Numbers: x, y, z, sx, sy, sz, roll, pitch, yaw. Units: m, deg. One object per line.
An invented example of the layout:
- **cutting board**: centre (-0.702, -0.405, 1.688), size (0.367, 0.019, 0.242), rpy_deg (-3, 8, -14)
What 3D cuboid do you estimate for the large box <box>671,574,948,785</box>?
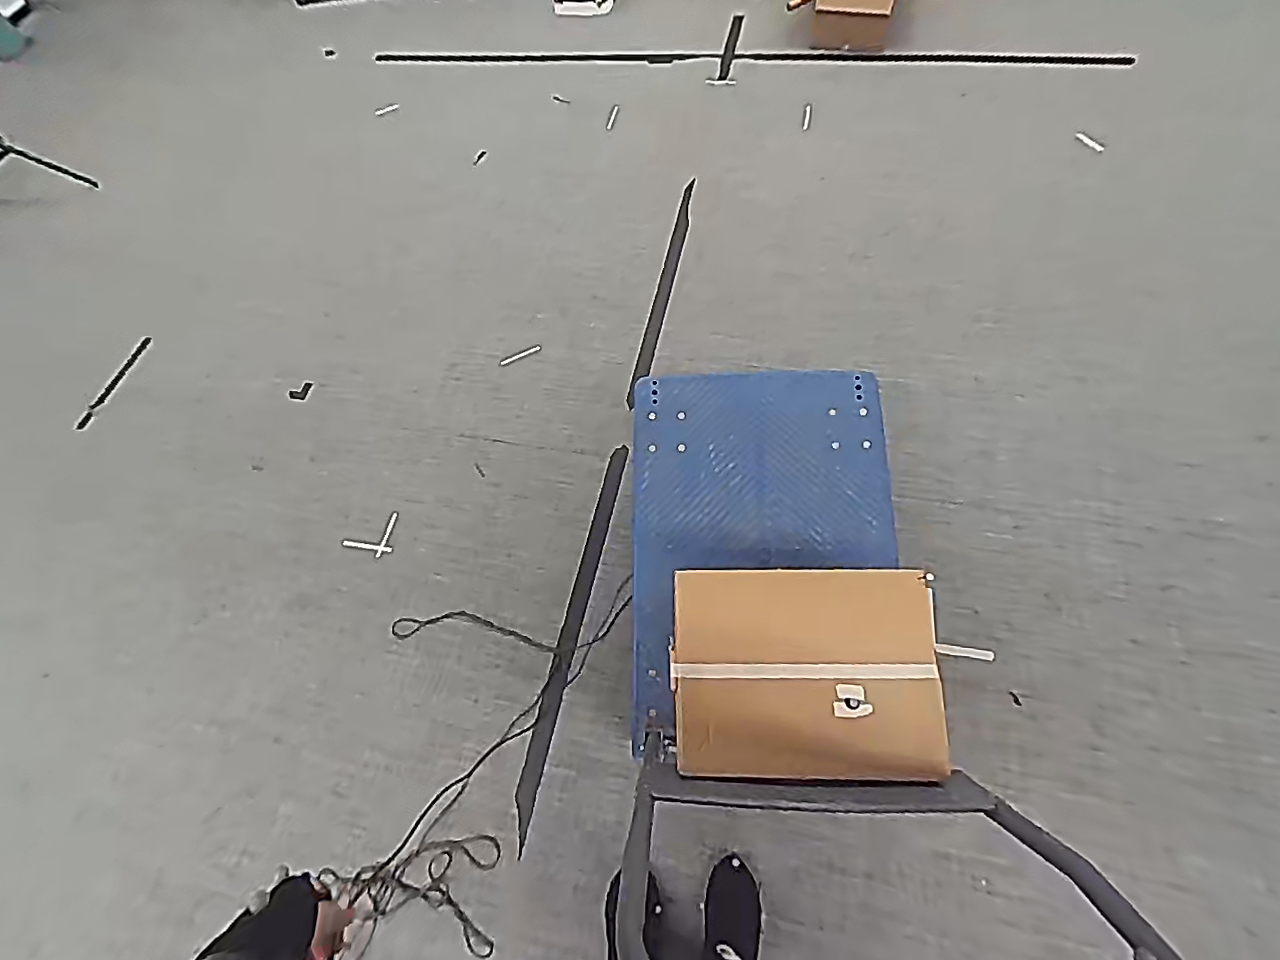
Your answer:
- **large box**: centre (0.263, 0.343, 0.988), size (0.408, 0.320, 0.320), rpy_deg (-1, 76, 3)
